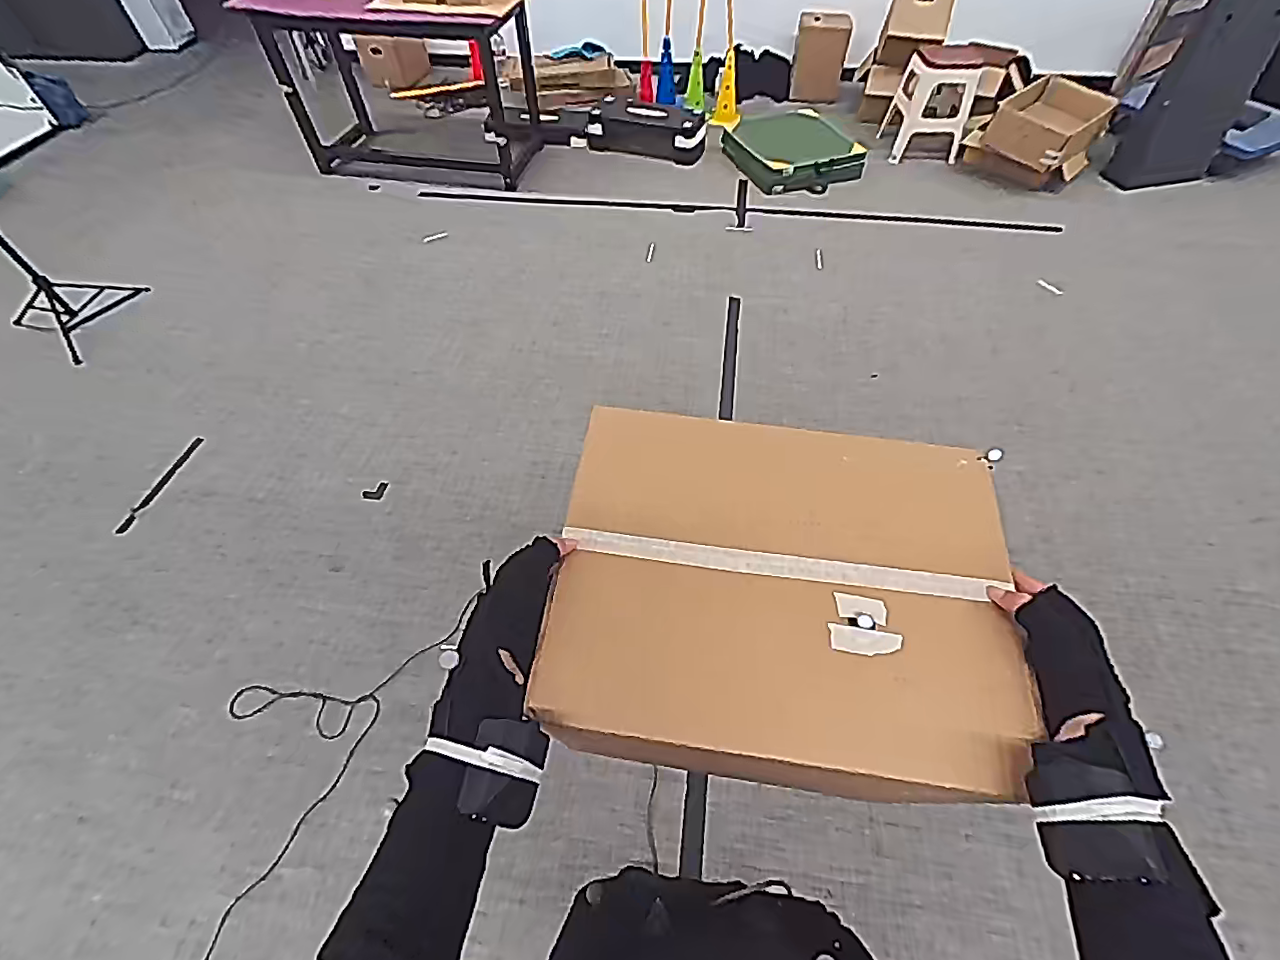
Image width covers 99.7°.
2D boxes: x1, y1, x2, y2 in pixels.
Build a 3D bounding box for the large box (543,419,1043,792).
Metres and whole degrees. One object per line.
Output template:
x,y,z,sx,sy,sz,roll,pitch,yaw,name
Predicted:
0.131,0.159,0.628,0.408,0.320,0.320,7,60,4,large box
